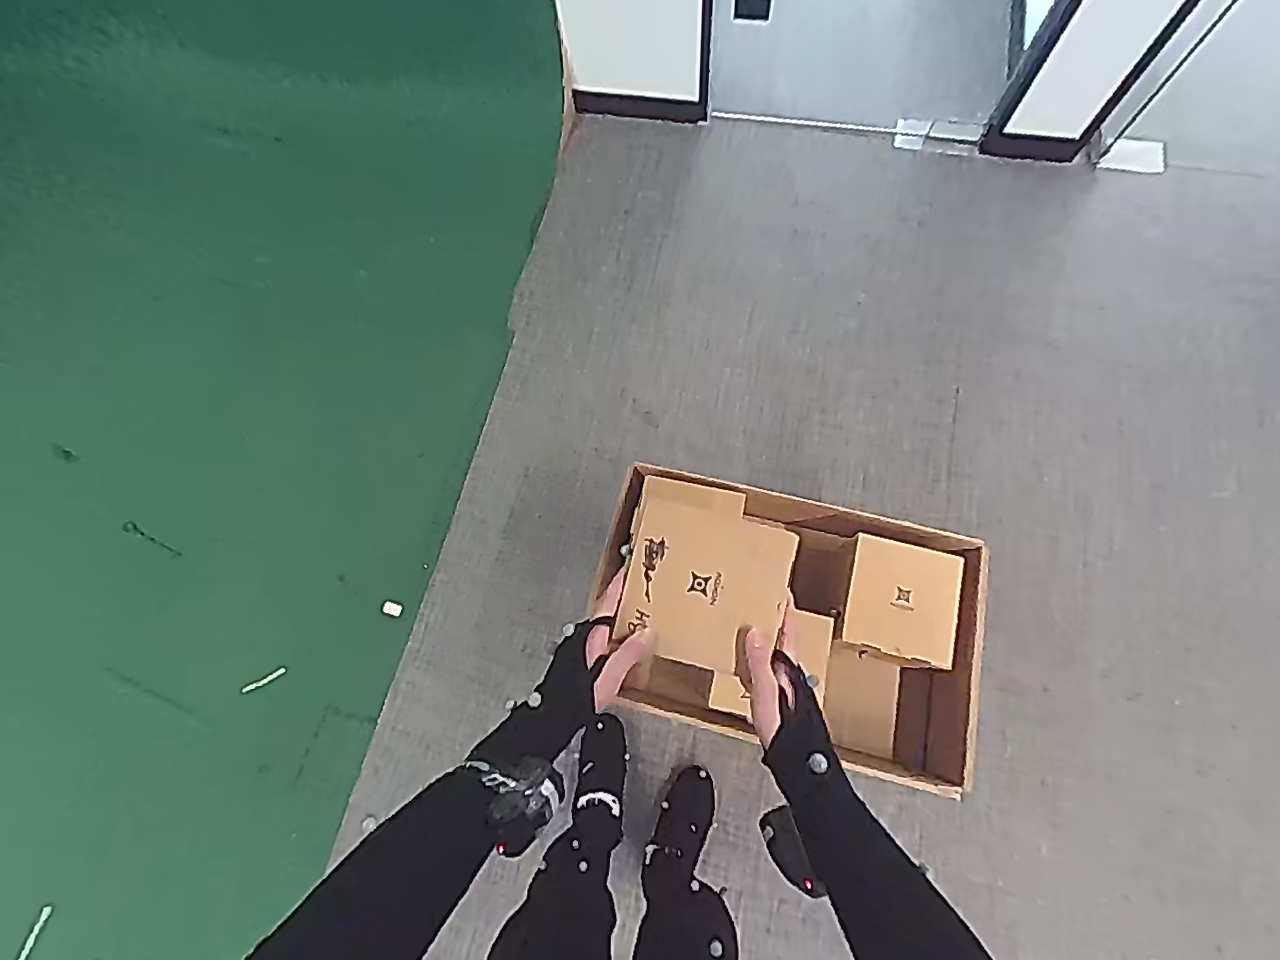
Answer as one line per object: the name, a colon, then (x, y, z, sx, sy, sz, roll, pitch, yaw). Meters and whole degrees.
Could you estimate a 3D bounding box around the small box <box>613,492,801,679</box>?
small box: (0.073, 0.127, 0.663, 0.179, 0.176, 0.168, 15, 78, 2)
